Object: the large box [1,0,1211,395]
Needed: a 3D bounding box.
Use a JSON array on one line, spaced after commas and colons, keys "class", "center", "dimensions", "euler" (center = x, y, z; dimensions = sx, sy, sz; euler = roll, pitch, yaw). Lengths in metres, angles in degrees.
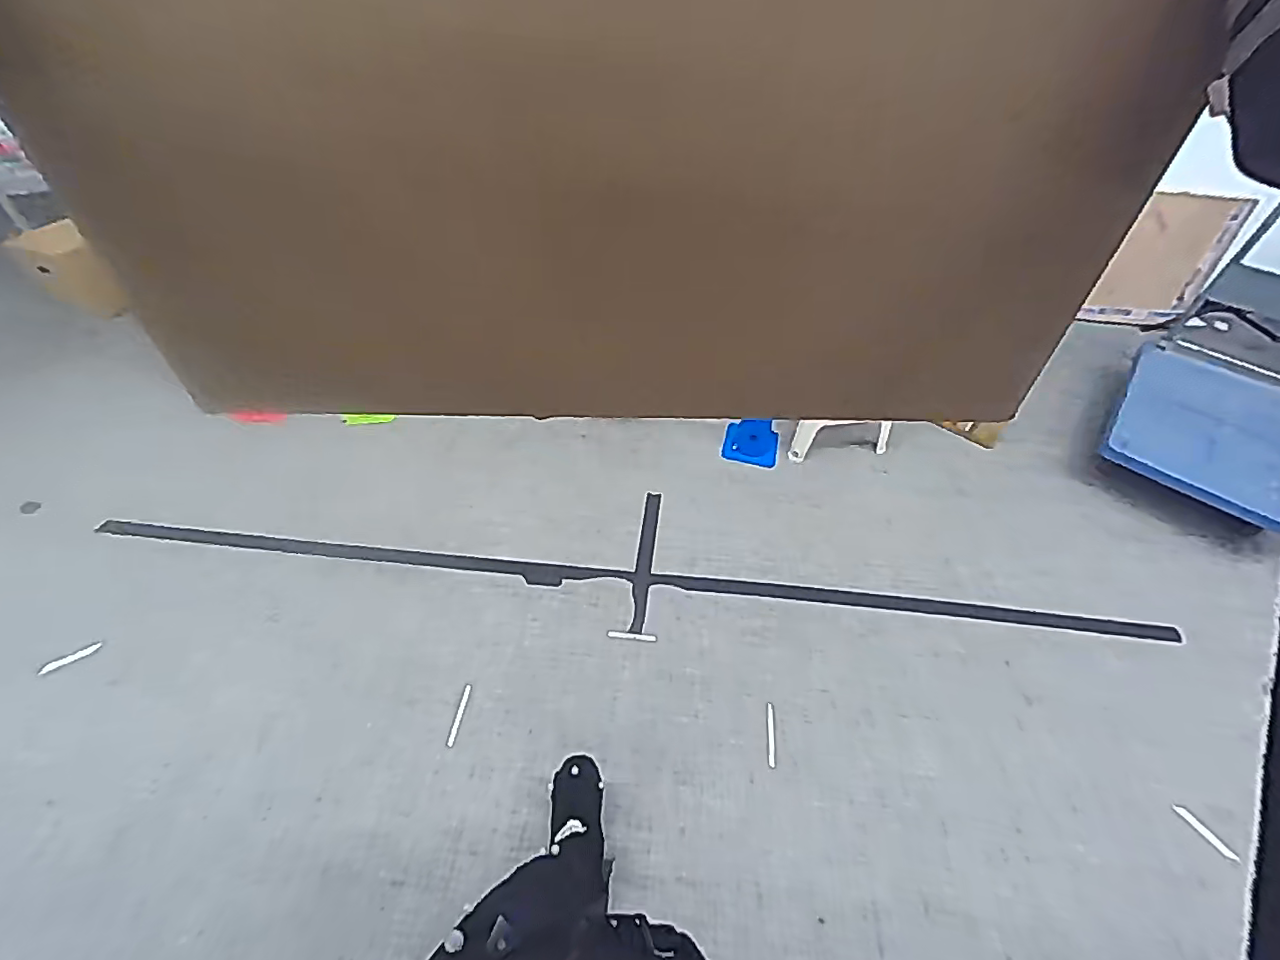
[{"class": "large box", "center": [-0.011, -0.255, 0.283], "dimensions": [0.408, 0.320, 0.320], "euler": [1, 44, -2]}]
